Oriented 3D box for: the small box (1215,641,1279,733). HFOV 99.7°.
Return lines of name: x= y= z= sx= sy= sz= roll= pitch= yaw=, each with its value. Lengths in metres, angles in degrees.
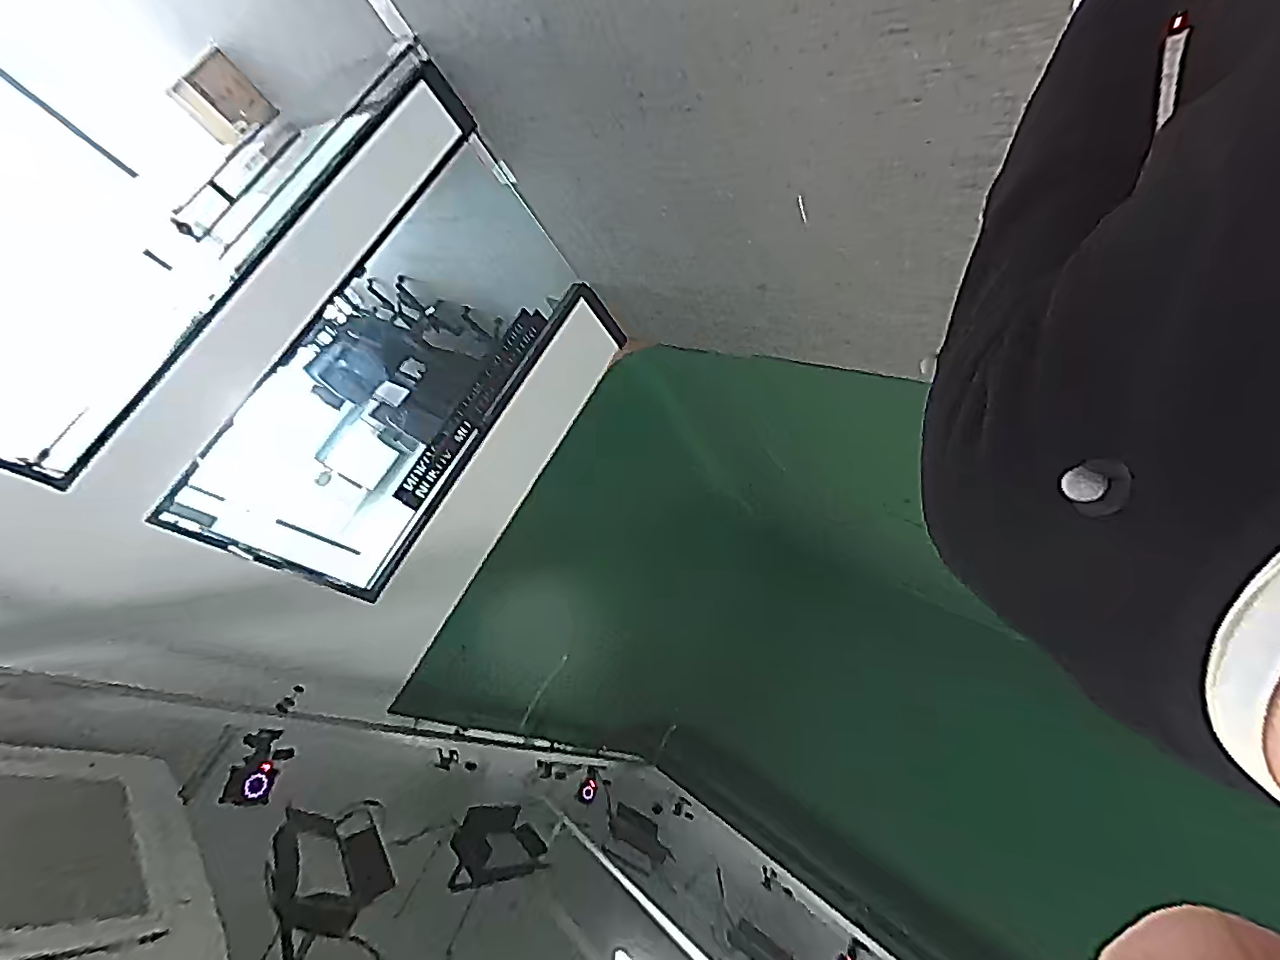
small box: x=1.578 y=0.506 z=1.313 sx=0.168 sy=0.176 sz=0.179 roll=30 pitch=166 yaw=5
